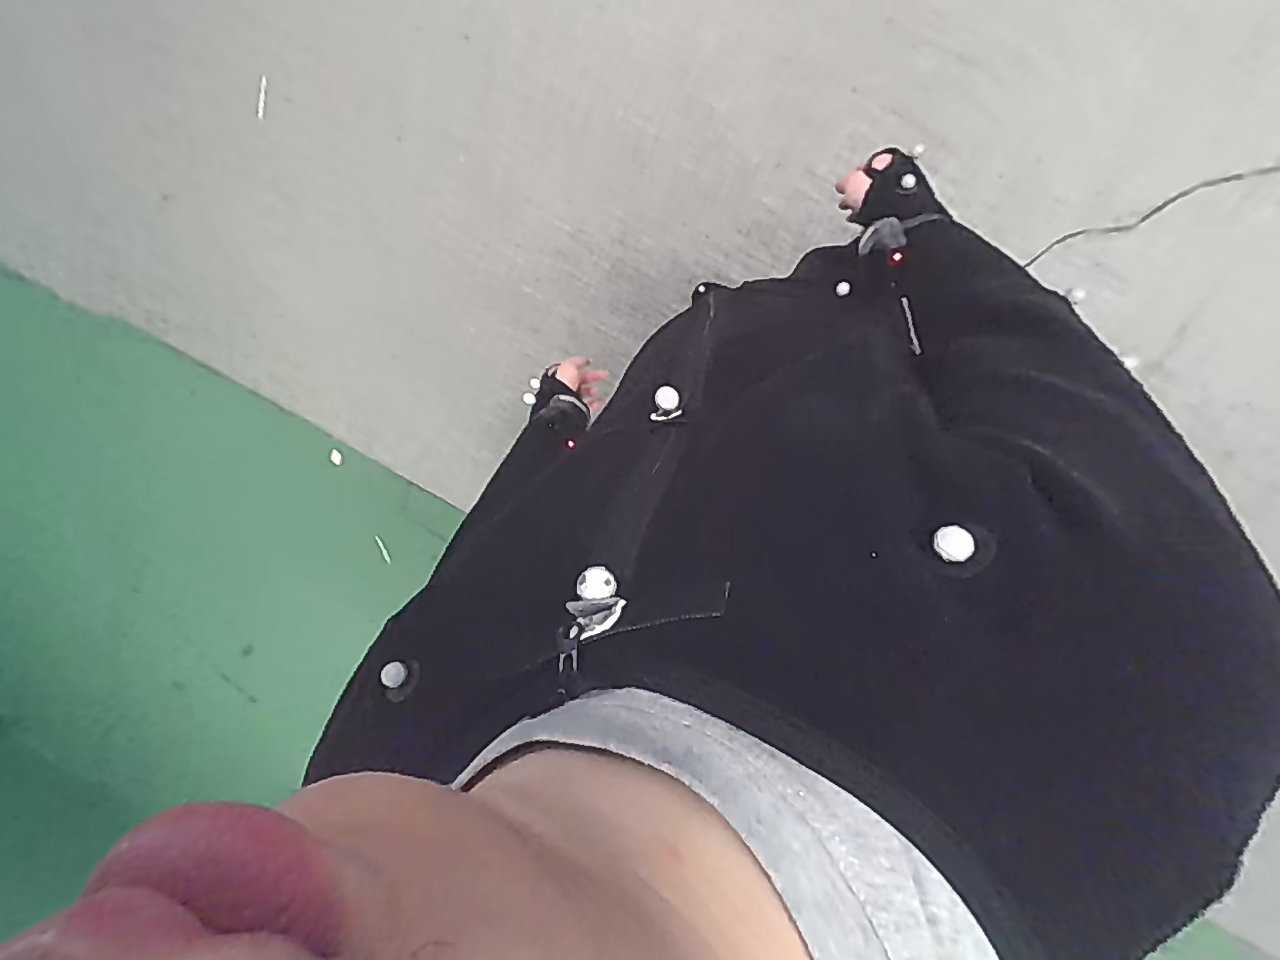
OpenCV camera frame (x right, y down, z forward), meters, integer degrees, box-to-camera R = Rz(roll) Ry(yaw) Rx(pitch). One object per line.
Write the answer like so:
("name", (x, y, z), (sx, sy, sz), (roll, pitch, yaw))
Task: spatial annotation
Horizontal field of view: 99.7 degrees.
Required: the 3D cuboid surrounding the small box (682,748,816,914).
("small box", (0.201, 0.635, 0.995), (0.179, 0.176, 0.168), (28, 116, 2))
